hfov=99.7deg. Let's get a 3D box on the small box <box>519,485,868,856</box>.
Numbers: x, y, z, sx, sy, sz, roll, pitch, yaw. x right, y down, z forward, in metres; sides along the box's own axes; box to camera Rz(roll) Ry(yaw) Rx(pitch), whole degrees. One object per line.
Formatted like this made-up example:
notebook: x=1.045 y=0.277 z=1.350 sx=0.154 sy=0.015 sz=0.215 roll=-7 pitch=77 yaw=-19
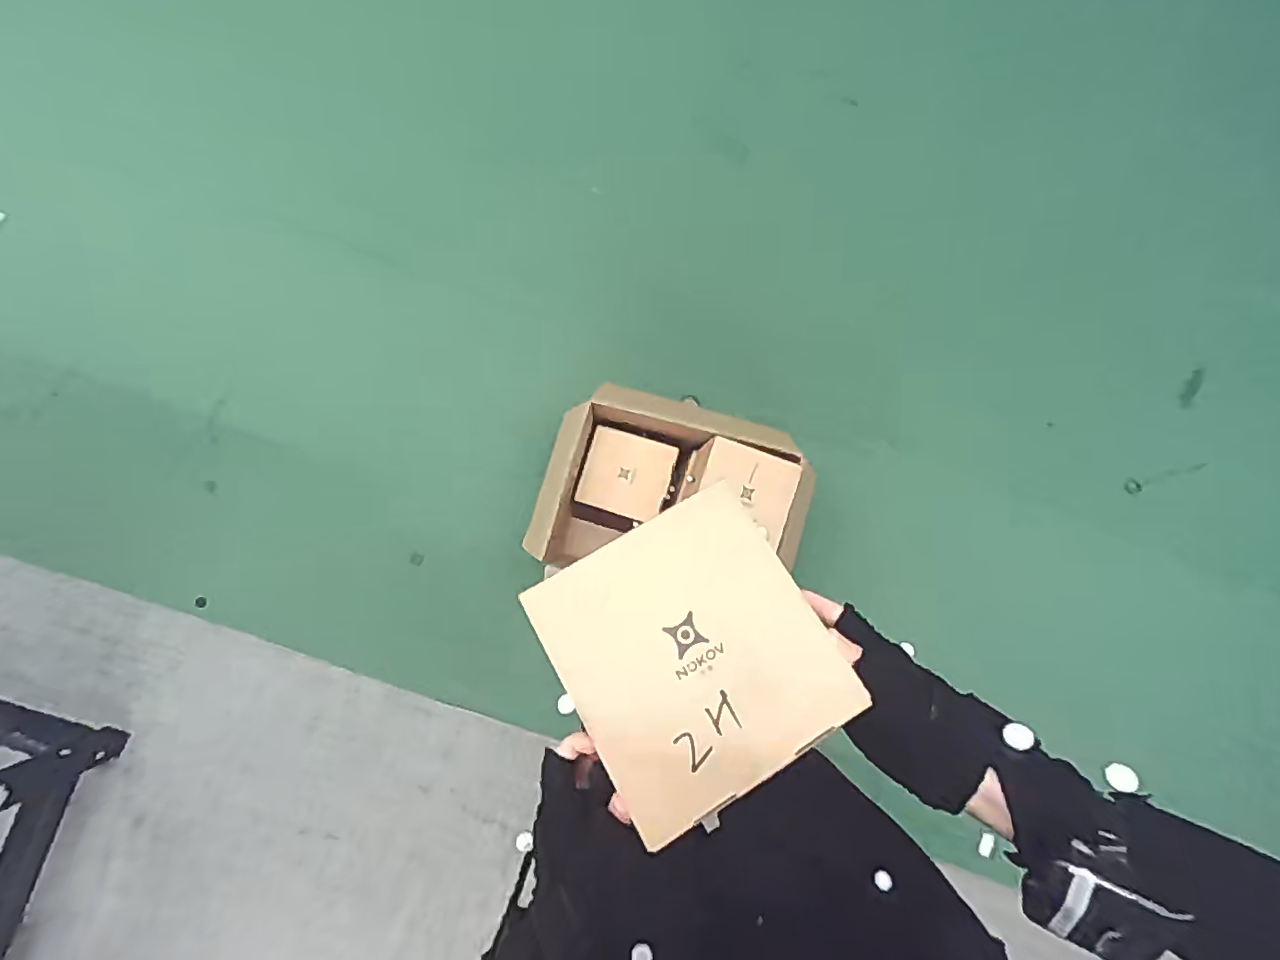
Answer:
small box: x=0.031 y=0.136 z=0.422 sx=0.168 sy=0.176 sz=0.179 roll=-30 pitch=74 yaw=-8
